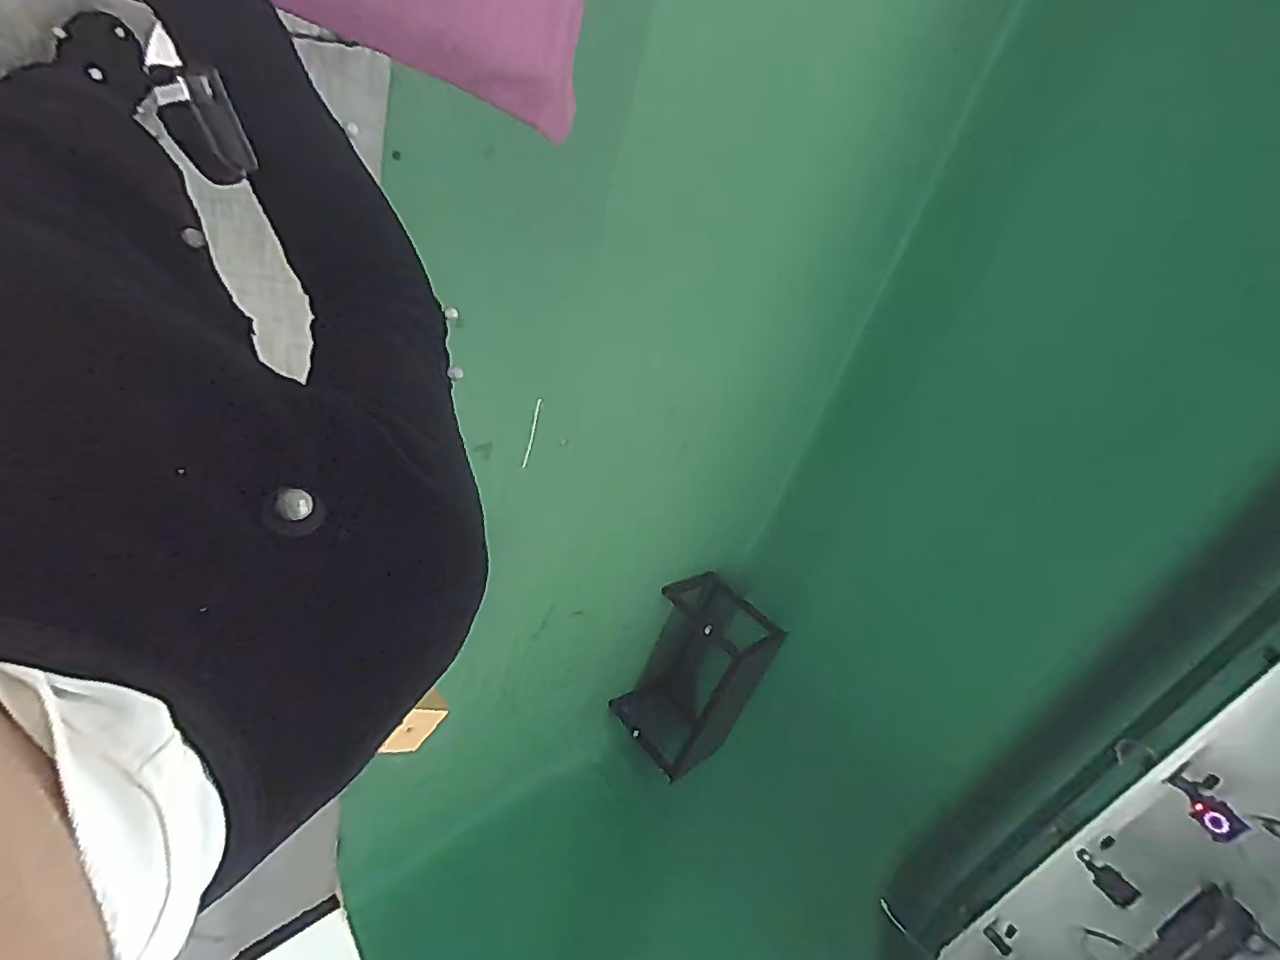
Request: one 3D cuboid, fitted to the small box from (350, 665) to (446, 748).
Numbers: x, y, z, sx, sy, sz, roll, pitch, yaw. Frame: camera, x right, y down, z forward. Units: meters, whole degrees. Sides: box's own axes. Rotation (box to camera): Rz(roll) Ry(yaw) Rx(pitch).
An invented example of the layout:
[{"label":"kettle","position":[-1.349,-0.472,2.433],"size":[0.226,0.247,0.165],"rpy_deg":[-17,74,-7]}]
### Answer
[{"label":"small box","position":[-0.746,0.694,1.665],"size":[0.168,0.176,0.179],"rpy_deg":[-50,146,-2]}]
